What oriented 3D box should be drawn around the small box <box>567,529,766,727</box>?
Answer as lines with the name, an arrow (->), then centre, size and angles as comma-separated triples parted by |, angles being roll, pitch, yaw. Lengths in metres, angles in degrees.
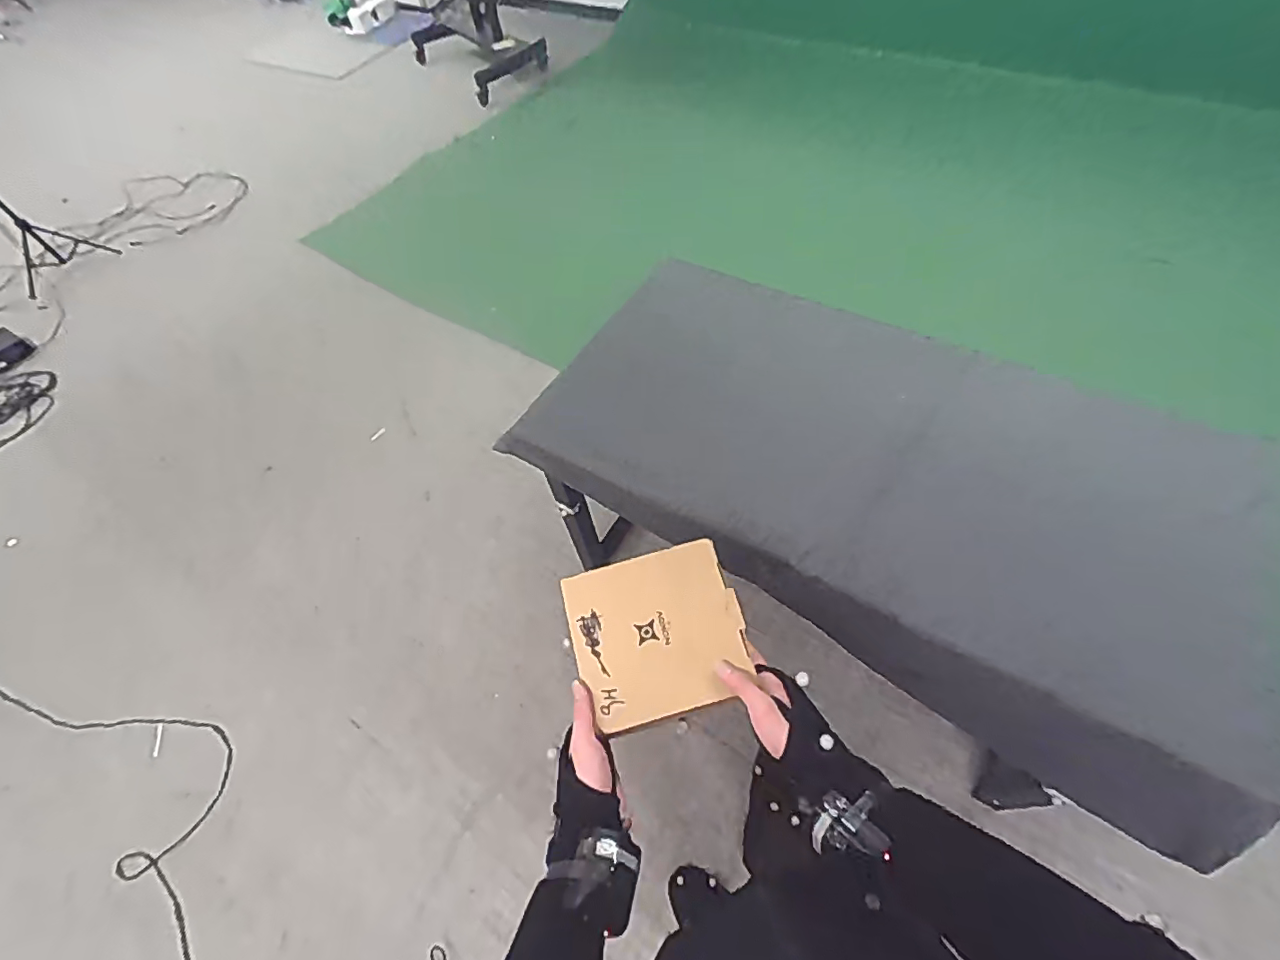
small box -> 0.024, 0.177, 0.624 | 0.179, 0.176, 0.168 | -13, 63, -4
